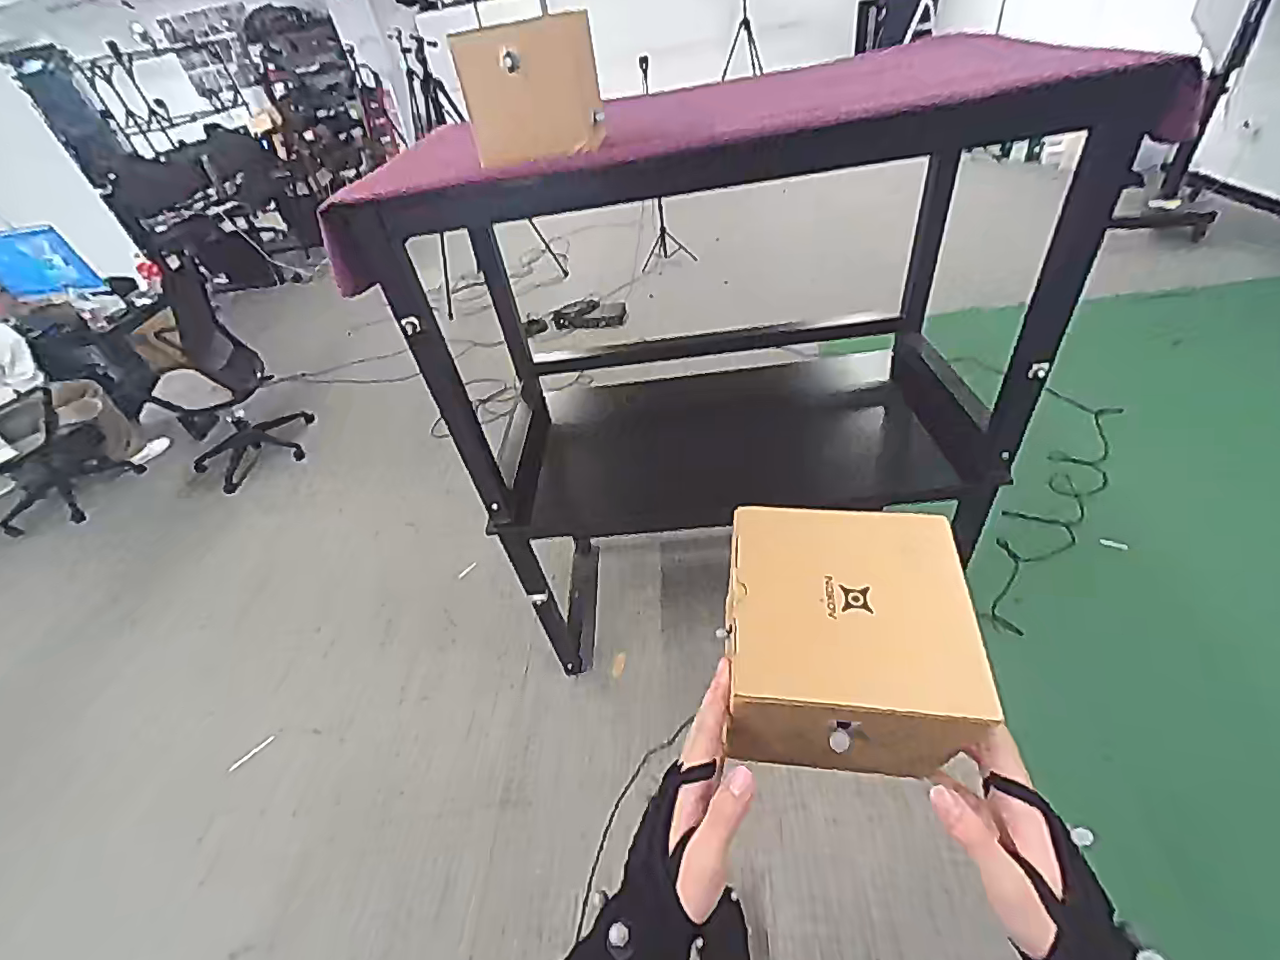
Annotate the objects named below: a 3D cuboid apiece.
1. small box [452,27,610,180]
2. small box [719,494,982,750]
[{"bbox_3d":[-0.156,-0.581,0.841,0.179,0.176,0.168,-3,41,9],"label":"small box"},{"bbox_3d":[0.163,0.130,0.483,0.179,0.176,0.168,1,51,10],"label":"small box"}]
